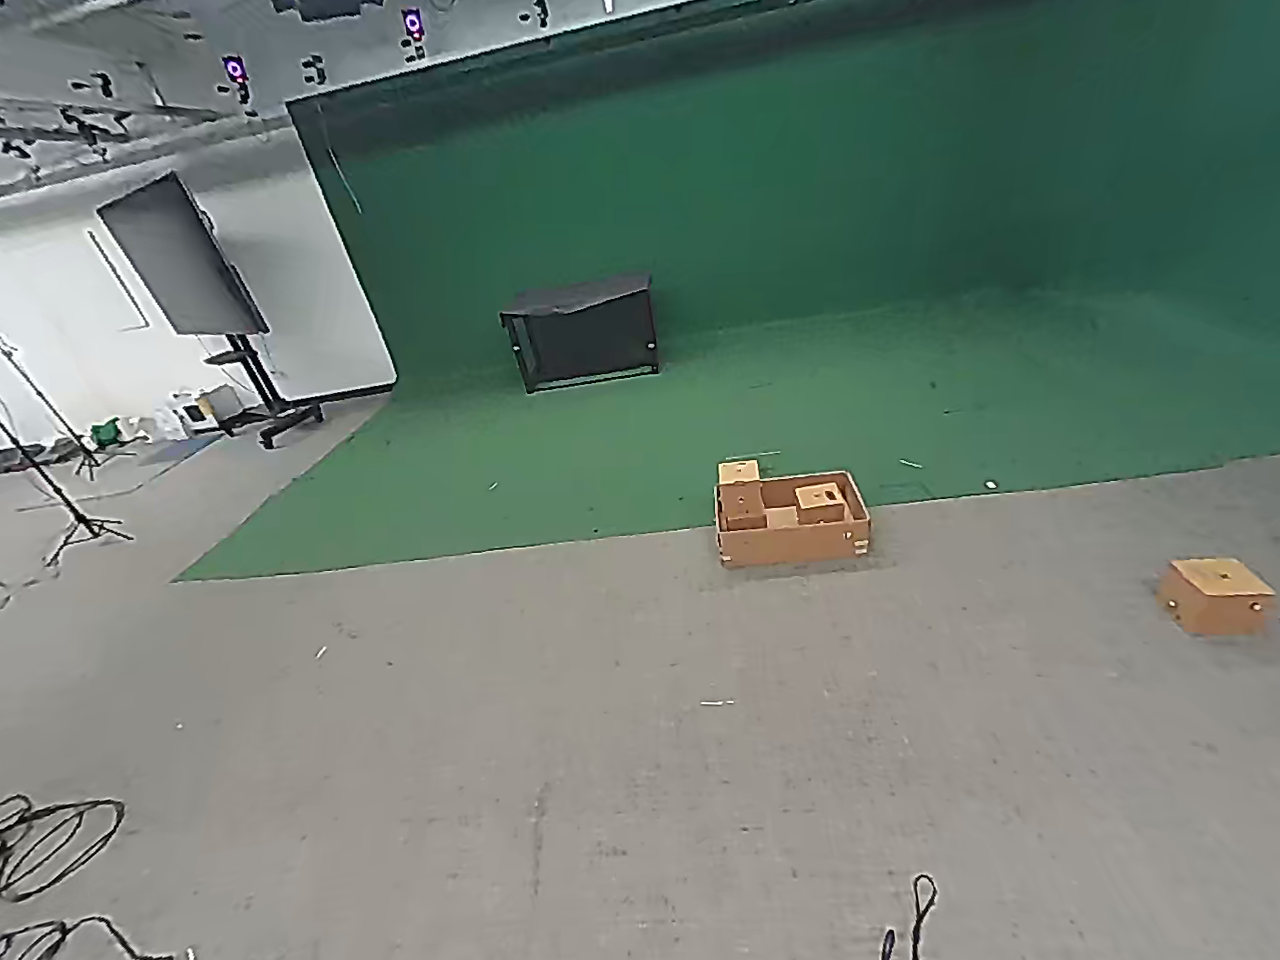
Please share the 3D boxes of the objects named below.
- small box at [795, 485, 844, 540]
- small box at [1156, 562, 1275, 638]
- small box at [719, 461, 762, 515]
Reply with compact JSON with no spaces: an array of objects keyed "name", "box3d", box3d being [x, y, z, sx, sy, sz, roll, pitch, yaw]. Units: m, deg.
[{"name":"small box","box3d":[0.776,0.142,2.345,0.179,0.176,0.168,-7,31,10]},{"name":"small box","box3d":[1.783,0.376,1.689,0.179,0.176,0.168,-4,30,13]},{"name":"small box","box3d":[0.429,0.039,2.314,0.168,0.176,0.179,-5,31,11]}]
